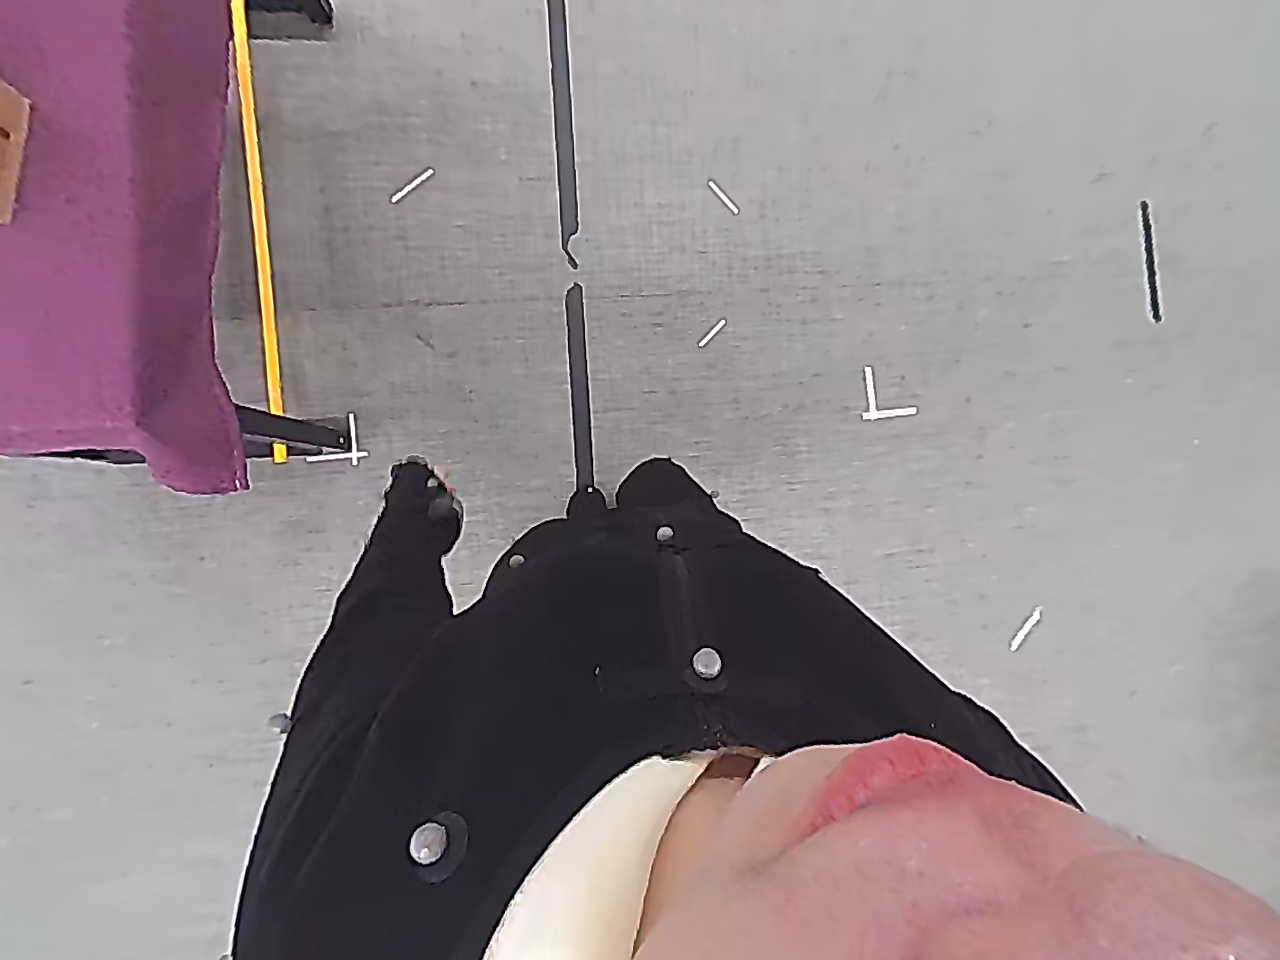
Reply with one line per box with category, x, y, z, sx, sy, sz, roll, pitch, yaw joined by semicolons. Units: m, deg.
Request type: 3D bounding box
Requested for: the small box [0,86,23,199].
small box;-0.865;-0.417;0.598;0.179;0.176;0.168;8;88;-7
